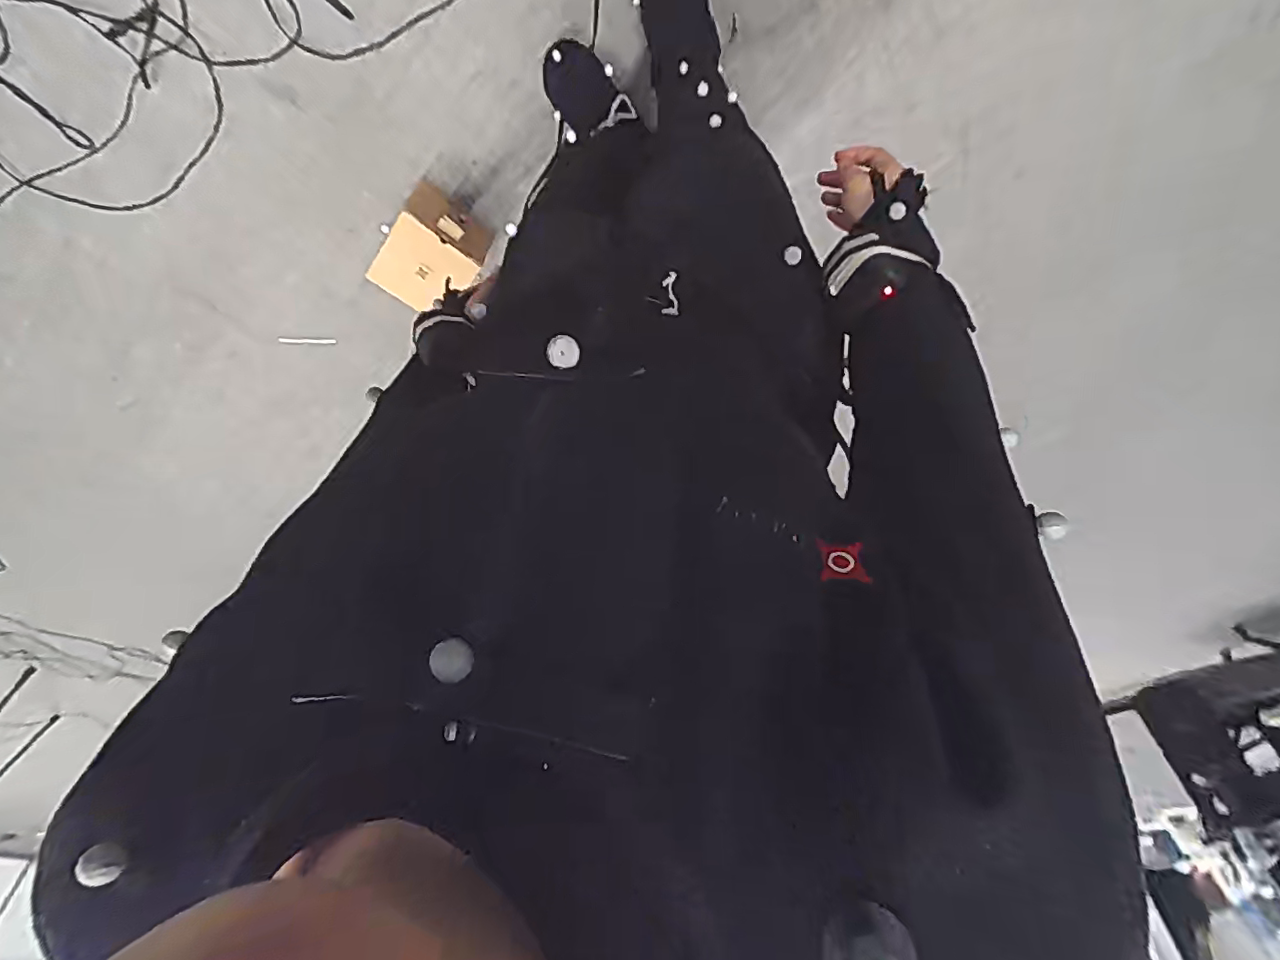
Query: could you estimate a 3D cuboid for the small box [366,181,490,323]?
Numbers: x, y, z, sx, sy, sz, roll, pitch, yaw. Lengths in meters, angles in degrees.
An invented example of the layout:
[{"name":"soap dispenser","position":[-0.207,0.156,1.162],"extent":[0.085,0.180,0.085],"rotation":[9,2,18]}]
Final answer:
[{"name":"small box","position":[-0.429,-0.470,1.118],"extent":[0.168,0.176,0.179],"rotation":[31,127,-31]}]
